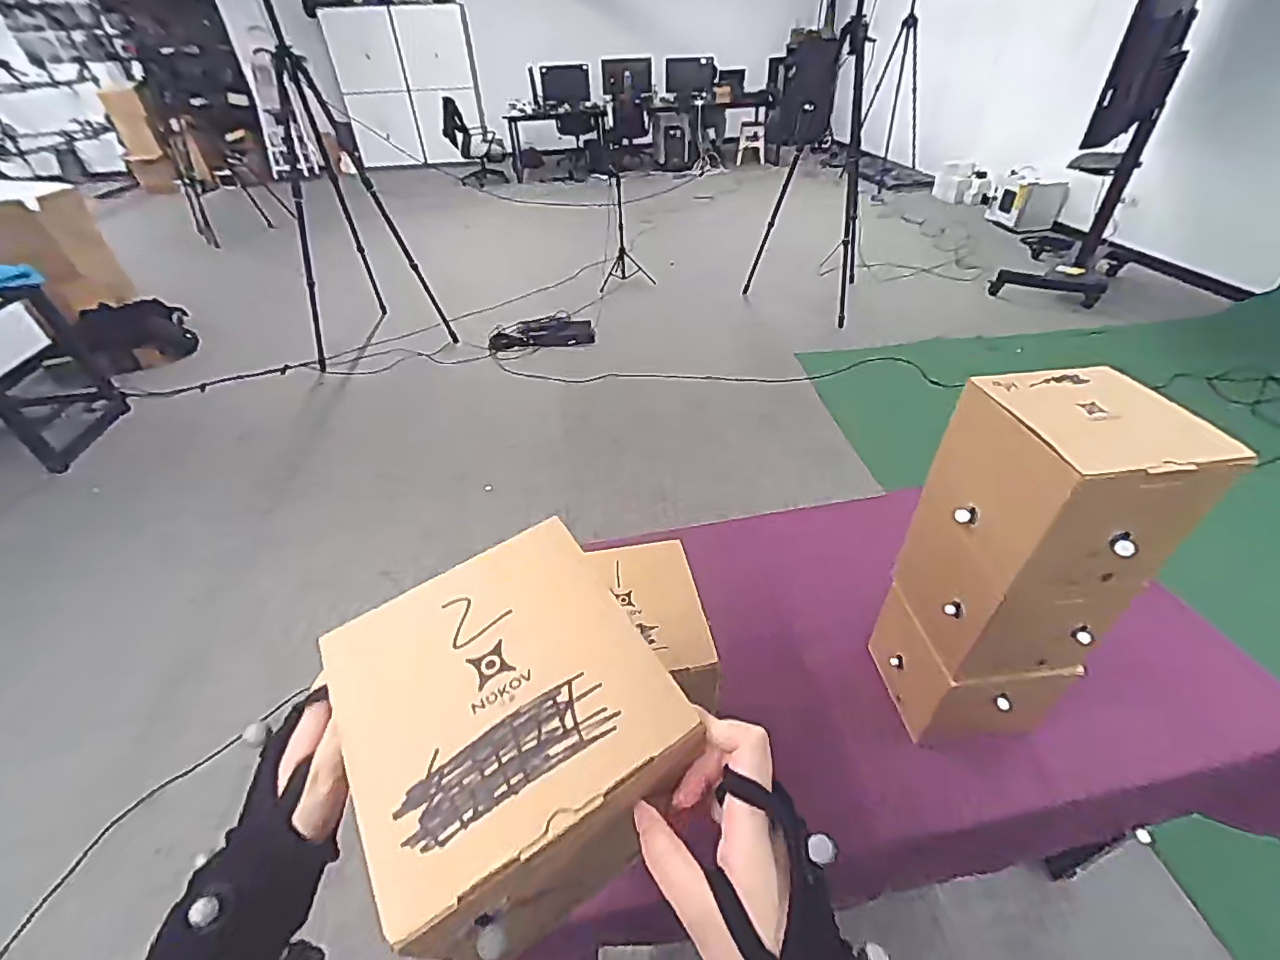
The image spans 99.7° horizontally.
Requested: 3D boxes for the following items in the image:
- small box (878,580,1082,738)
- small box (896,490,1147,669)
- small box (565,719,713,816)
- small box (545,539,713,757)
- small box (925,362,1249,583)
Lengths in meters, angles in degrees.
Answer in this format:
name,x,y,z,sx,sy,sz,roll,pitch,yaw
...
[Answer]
name,x,y,z,sx,sy,sz,roll,pitch,yaw
small box,0.465,0.252,0.779,0.179,0.176,0.168,-5,40,-1
small box,0.454,0.121,0.682,0.168,0.176,0.179,-5,39,-2
small box,-0.005,0.328,0.733,0.179,0.176,0.168,-8,40,-5
small box,-0.015,0.199,0.632,0.168,0.176,0.179,-8,39,-6
small box,0.442,-0.005,0.578,0.168,0.176,0.179,-5,40,-3
